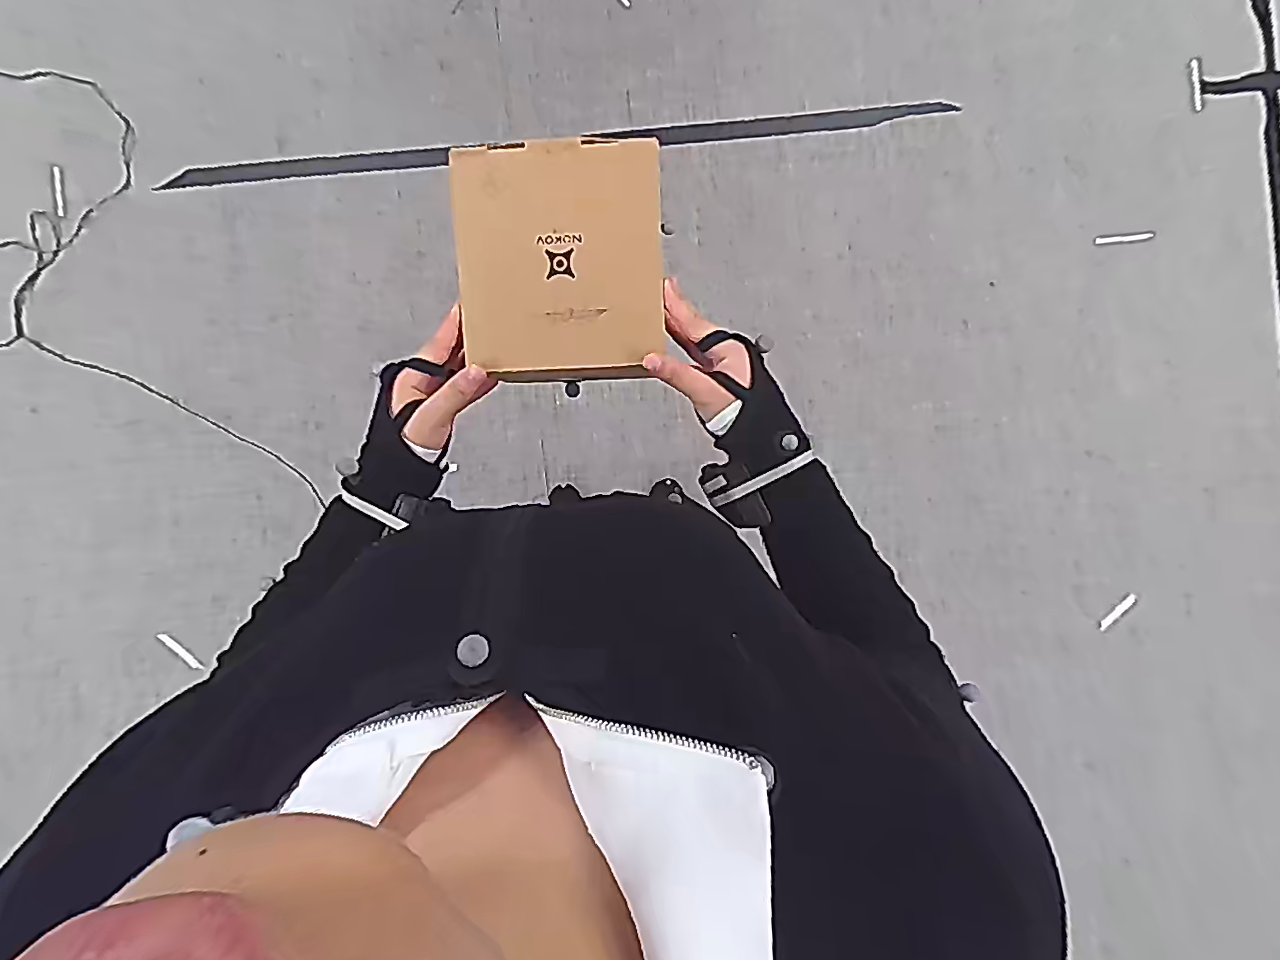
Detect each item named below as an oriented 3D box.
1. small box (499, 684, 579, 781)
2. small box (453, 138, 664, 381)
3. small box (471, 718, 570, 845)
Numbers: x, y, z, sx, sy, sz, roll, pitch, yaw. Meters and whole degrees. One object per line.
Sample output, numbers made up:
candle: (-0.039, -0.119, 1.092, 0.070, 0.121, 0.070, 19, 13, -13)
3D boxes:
small box: (-0.242, 0.623, 1.331, 0.168, 0.176, 0.179, -2, 91, 1)
small box: (-0.064, -0.190, 0.513, 0.168, 0.176, 0.179, -2, 97, 1)
small box: (-0.250, 0.642, 1.166, 0.168, 0.176, 0.179, -6, 91, 1)
